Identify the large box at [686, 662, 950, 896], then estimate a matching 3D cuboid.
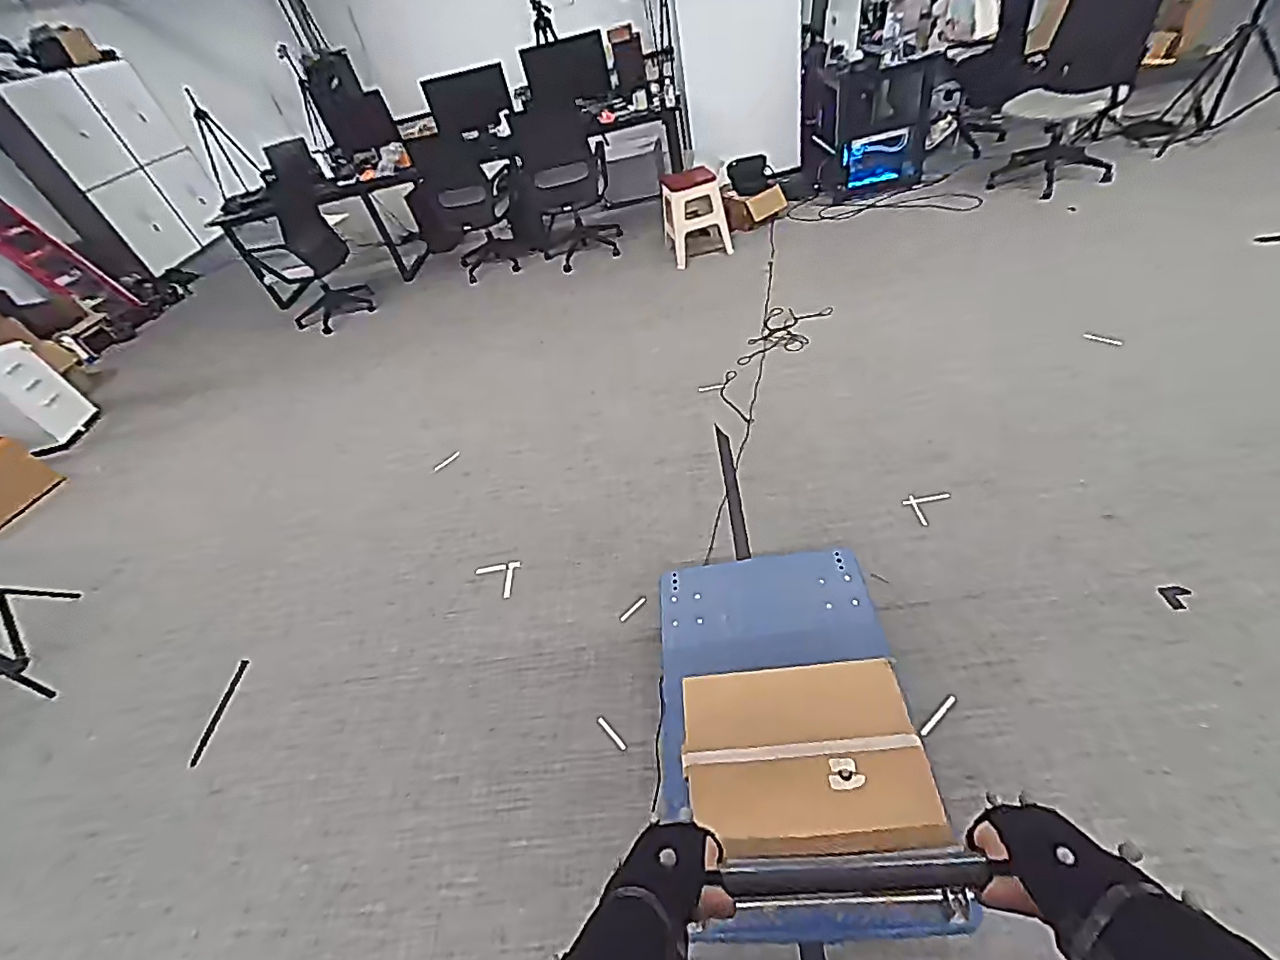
[{"bbox_3d":[0.316,0.597,1.072,0.408,0.320,0.320,-8,44,7],"label":"large box"}]
